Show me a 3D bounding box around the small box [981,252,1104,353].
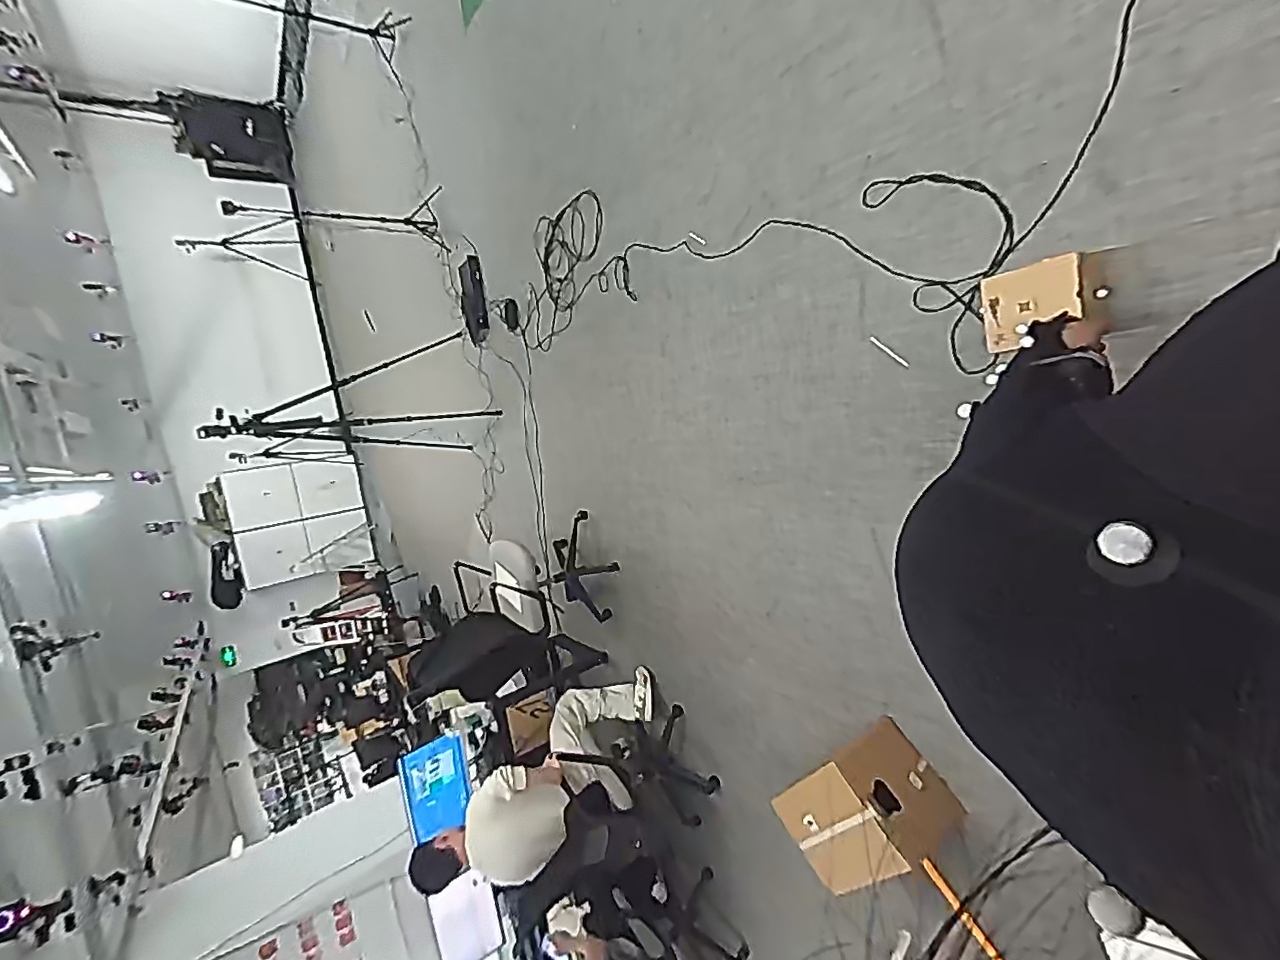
[{"bbox_3d":[0.875,-0.379,1.171,0.179,0.176,0.168,-3,99,53],"label":"small box"}]
